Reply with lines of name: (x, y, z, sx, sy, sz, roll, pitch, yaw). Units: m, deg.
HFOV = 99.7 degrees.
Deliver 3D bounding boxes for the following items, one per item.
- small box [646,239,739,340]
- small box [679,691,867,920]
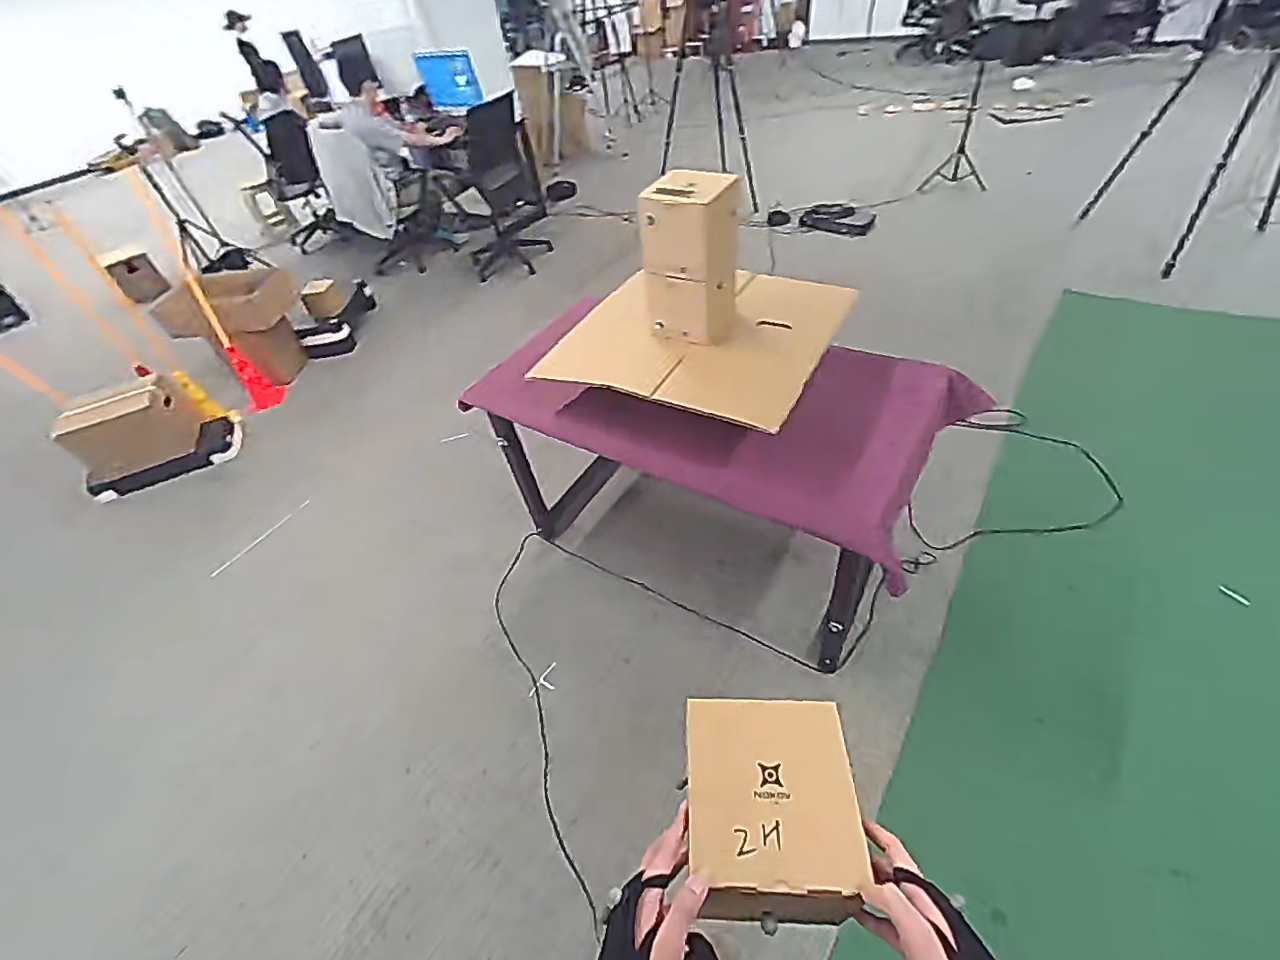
small box: (0.135, -0.469, 1.335, 0.168, 0.176, 0.179, 20, 53, 24)
small box: (0.127, 0.355, 0.594, 0.168, 0.176, 0.179, -1, 44, 5)
